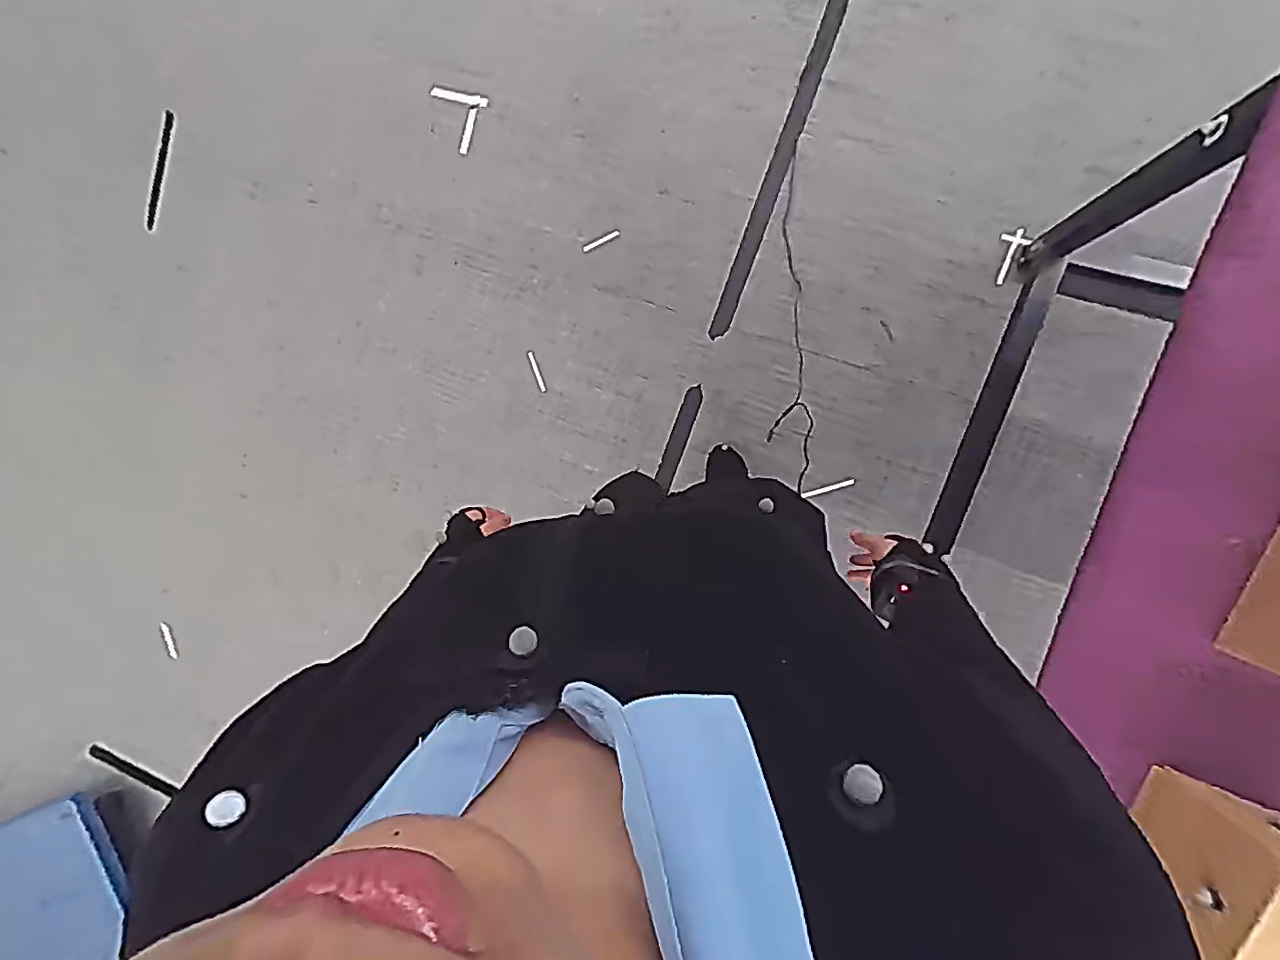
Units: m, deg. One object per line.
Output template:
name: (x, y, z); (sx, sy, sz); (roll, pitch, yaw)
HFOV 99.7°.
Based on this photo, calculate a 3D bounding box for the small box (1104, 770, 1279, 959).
small box: (0.671, 0.469, 0.592); (0.168, 0.176, 0.179); (22, 97, 7)

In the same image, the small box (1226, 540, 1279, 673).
small box: (0.783, 0.155, 0.550); (0.168, 0.176, 0.179); (22, 98, 8)
